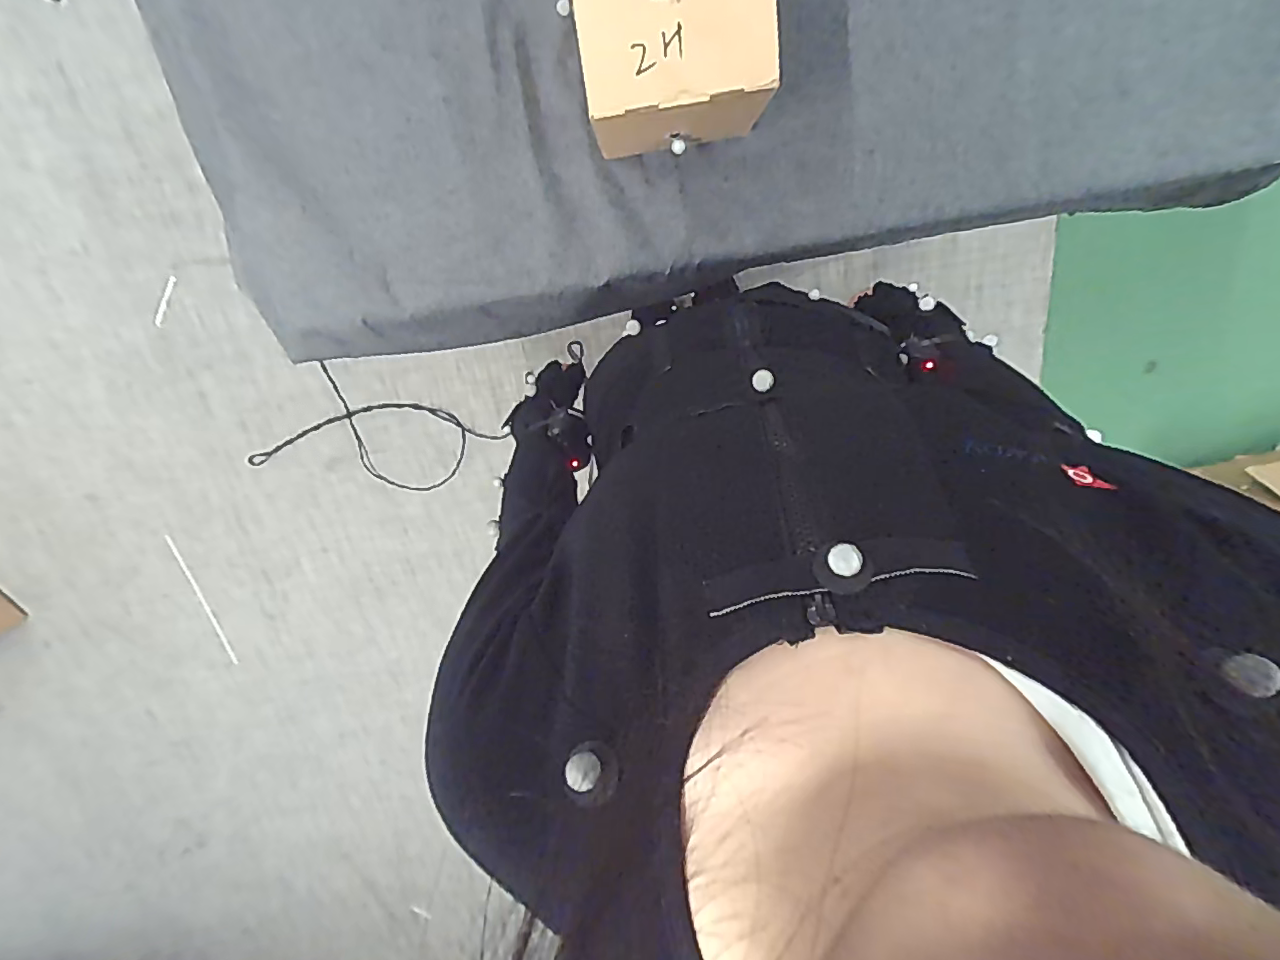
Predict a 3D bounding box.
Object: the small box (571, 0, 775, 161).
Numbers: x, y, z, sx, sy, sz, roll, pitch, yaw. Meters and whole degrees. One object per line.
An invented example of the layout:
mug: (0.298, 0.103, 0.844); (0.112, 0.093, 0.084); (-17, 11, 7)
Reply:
small box: (0.024, -0.427, 0.511); (0.168, 0.176, 0.179); (-7, 110, 4)
